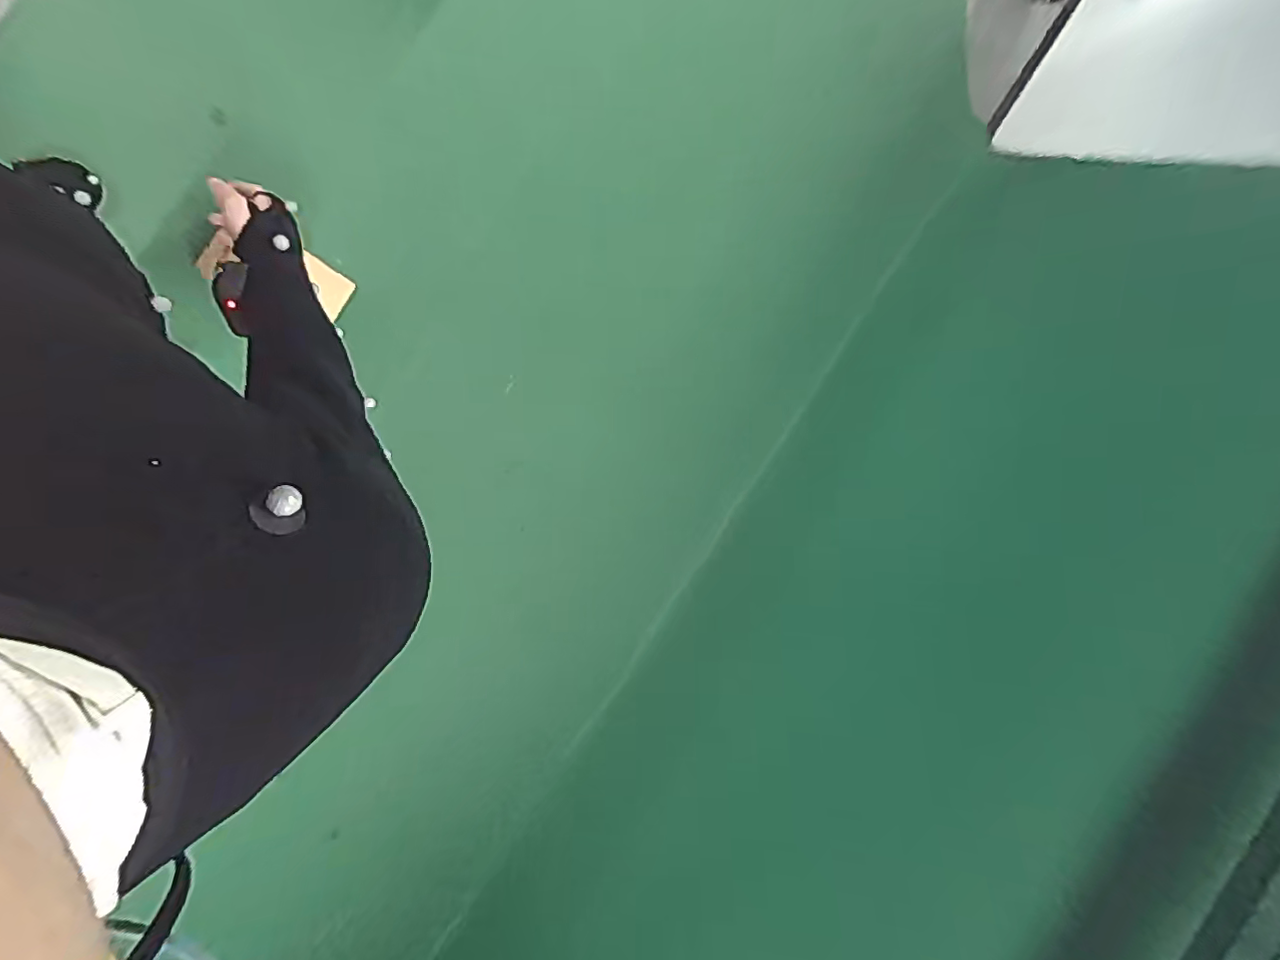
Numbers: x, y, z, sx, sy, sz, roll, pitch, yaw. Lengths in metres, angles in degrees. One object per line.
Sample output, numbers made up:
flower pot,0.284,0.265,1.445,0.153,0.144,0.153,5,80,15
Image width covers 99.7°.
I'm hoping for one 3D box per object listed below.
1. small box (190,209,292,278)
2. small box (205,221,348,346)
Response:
small box,-0.870,-0.488,1.223,0.168,0.176,0.179,-57,143,-2
small box,-0.759,-0.415,1.130,0.168,0.176,0.179,-57,142,0
